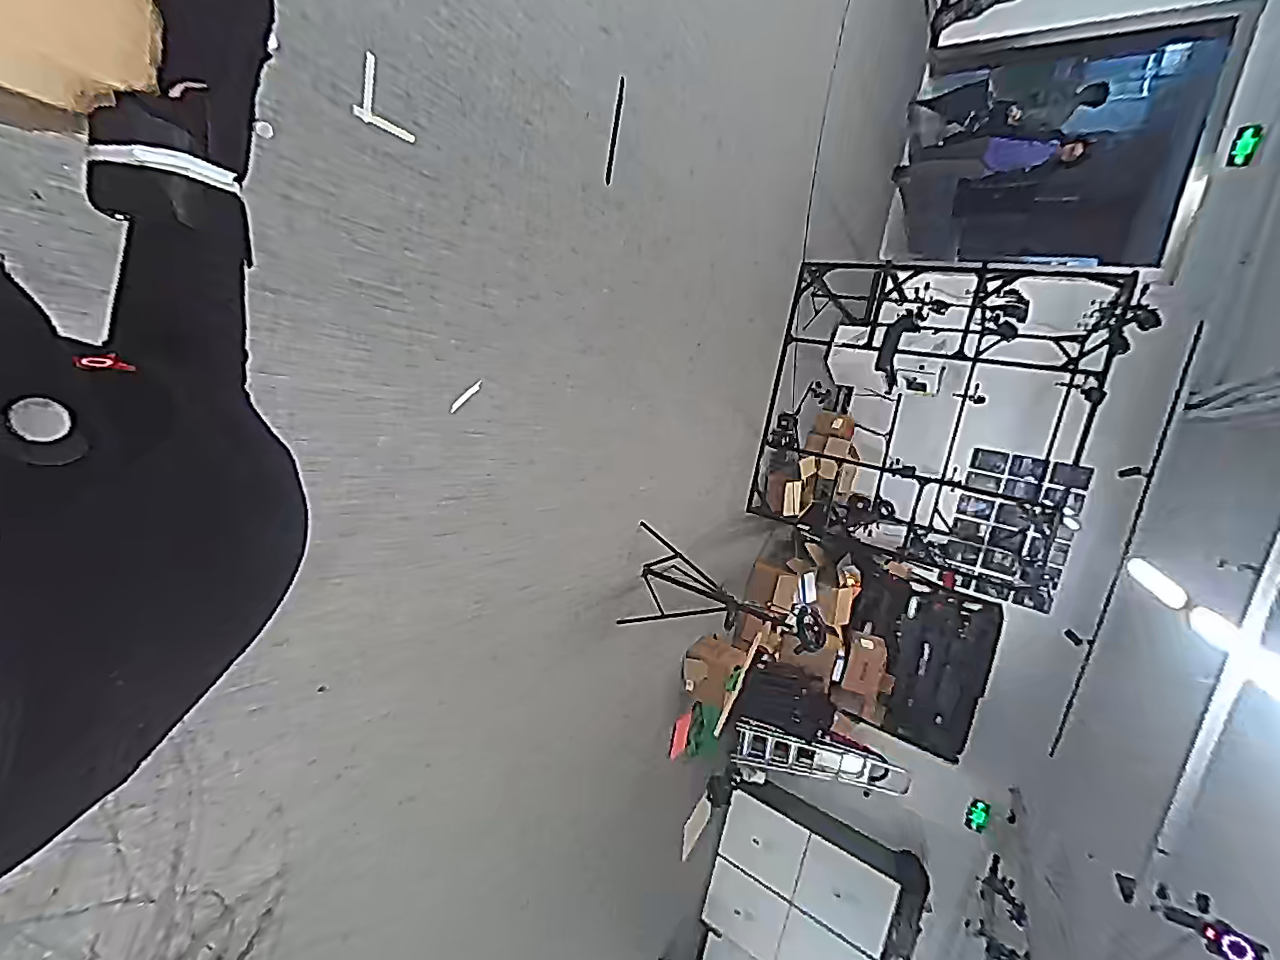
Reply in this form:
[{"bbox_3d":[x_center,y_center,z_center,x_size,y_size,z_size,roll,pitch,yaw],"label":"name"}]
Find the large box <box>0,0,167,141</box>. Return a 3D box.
[{"bbox_3d":[-0.537,-0.415,0.255,0.408,0.320,0.320,-10,118,-59],"label":"large box"}]
